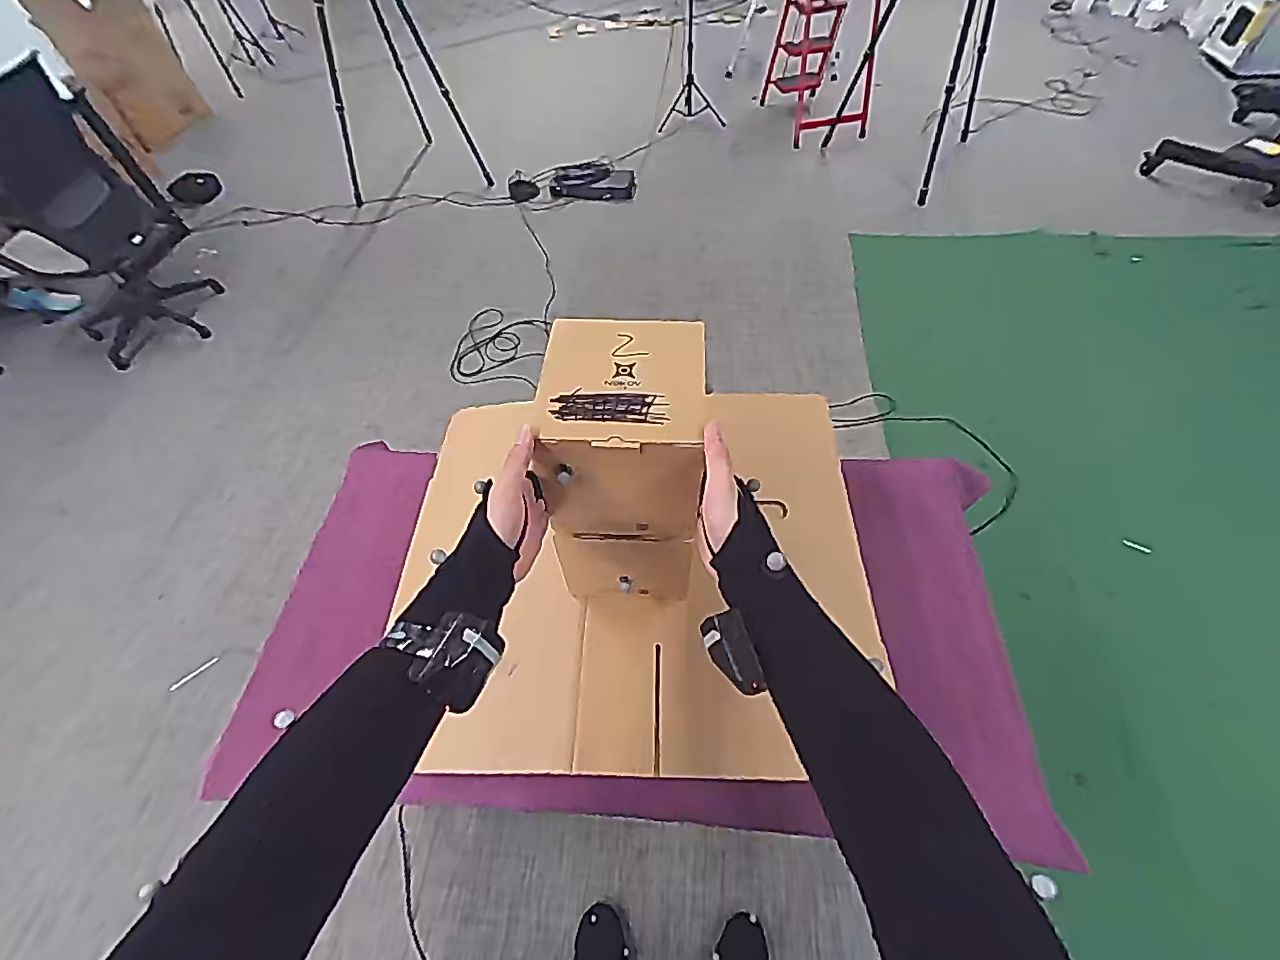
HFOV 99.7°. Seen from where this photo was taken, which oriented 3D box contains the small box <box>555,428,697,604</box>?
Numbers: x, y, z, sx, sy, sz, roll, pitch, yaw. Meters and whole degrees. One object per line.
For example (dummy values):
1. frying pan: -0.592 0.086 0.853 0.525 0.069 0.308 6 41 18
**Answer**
1. small box: -0.012 0.050 0.731 0.168 0.176 0.179 2 55 3
